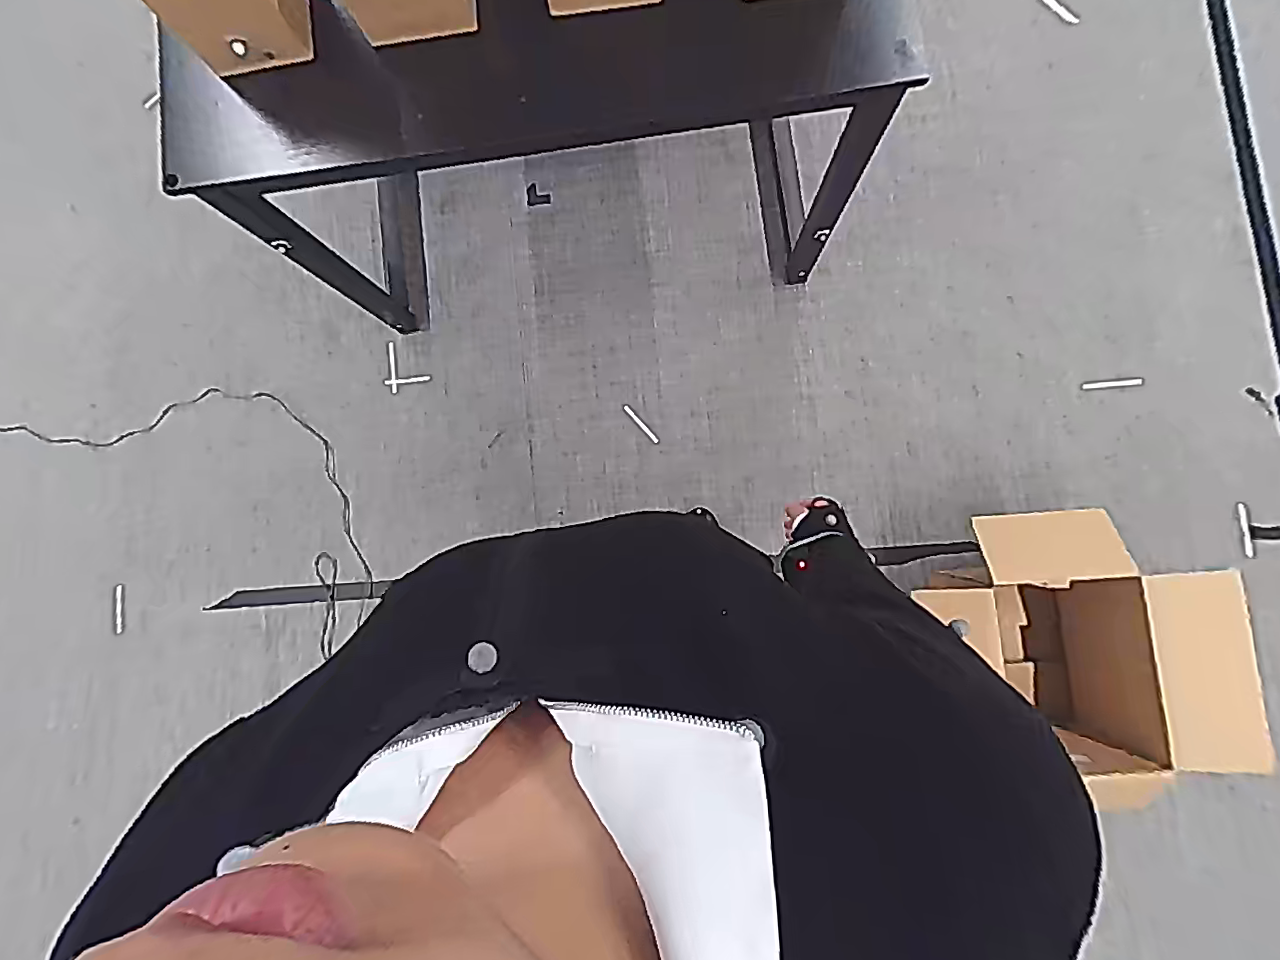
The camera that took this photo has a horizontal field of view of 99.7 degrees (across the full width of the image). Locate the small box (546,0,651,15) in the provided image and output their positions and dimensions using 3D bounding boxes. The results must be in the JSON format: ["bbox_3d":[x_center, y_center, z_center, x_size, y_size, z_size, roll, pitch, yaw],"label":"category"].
[{"bbox_3d":[-0.069,-0.818,0.775,0.179,0.176,0.168,-5,85,4],"label":"small box"}]

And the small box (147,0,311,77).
[{"bbox_3d":[-0.625,-0.756,0.804,0.168,0.176,0.179,-8,86,3],"label":"small box"}]

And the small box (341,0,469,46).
[{"bbox_3d":[-0.360,-0.786,0.789,0.179,0.176,0.168,-7,85,3],"label":"small box"}]
